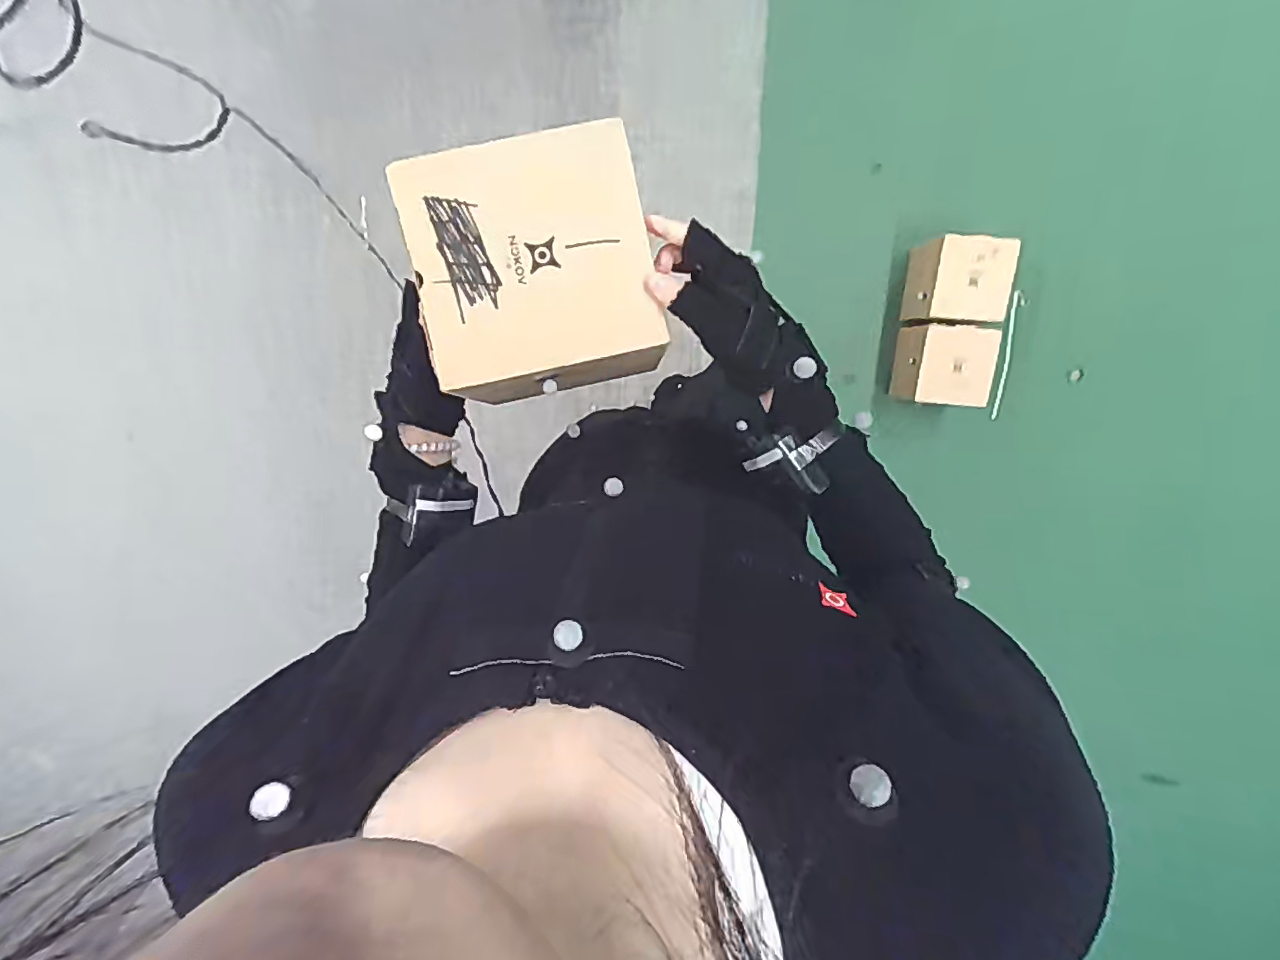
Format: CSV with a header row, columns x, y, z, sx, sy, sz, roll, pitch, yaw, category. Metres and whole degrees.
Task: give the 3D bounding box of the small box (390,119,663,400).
x,y,z,sx,sy,sz,roll,pitch,yaw,category
-0.084,-0.171,0.477,0.179,0.176,0.168,-13,95,-2,small box
